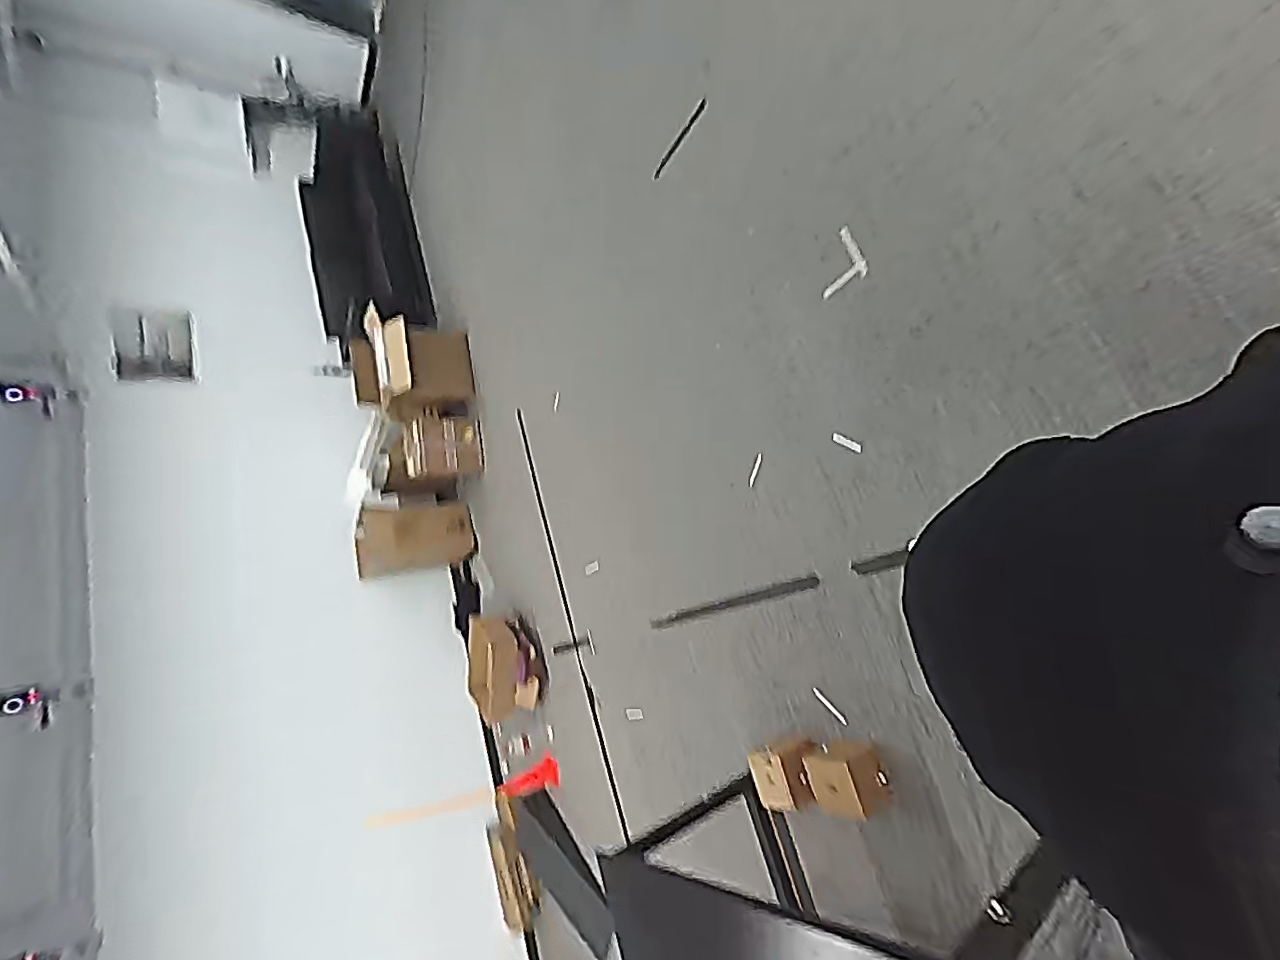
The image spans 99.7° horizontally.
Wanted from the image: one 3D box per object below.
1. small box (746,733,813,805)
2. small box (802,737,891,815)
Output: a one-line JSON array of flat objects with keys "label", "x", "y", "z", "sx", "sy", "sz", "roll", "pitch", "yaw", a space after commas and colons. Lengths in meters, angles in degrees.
[{"label": "small box", "x": 0.516, "y": 1.023, "z": 1.925, "sx": 0.168, "sy": 0.176, "sz": 0.179, "roll": -34, "pitch": 68, "yaw": 49}, {"label": "small box", "x": 0.658, "y": 0.934, "z": 1.723, "sx": 0.179, "sy": 0.176, "sz": 0.168, "roll": -34, "pitch": 68, "yaw": 50}]
